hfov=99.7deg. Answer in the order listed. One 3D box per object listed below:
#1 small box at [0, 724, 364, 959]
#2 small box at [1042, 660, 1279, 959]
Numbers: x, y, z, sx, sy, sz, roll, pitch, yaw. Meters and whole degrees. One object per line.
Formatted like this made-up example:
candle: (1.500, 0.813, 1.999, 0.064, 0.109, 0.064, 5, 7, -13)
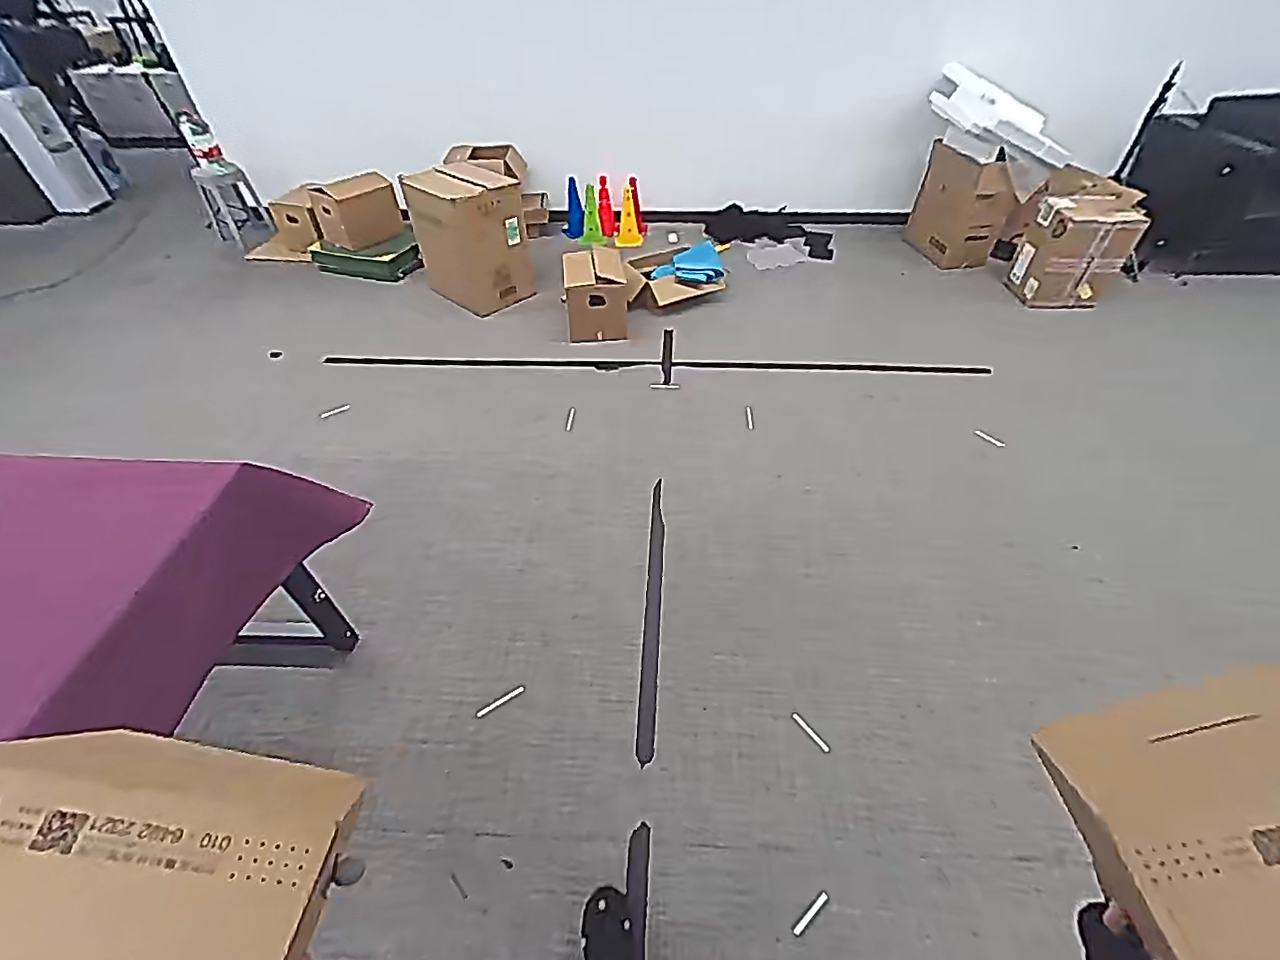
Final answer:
small box: (-0.262, 0.227, 0.270, 0.168, 0.179, 0.176, 20, 62, -12)
small box: (0.364, 0.213, 0.296, 0.168, 0.179, 0.176, -26, 71, 20)
